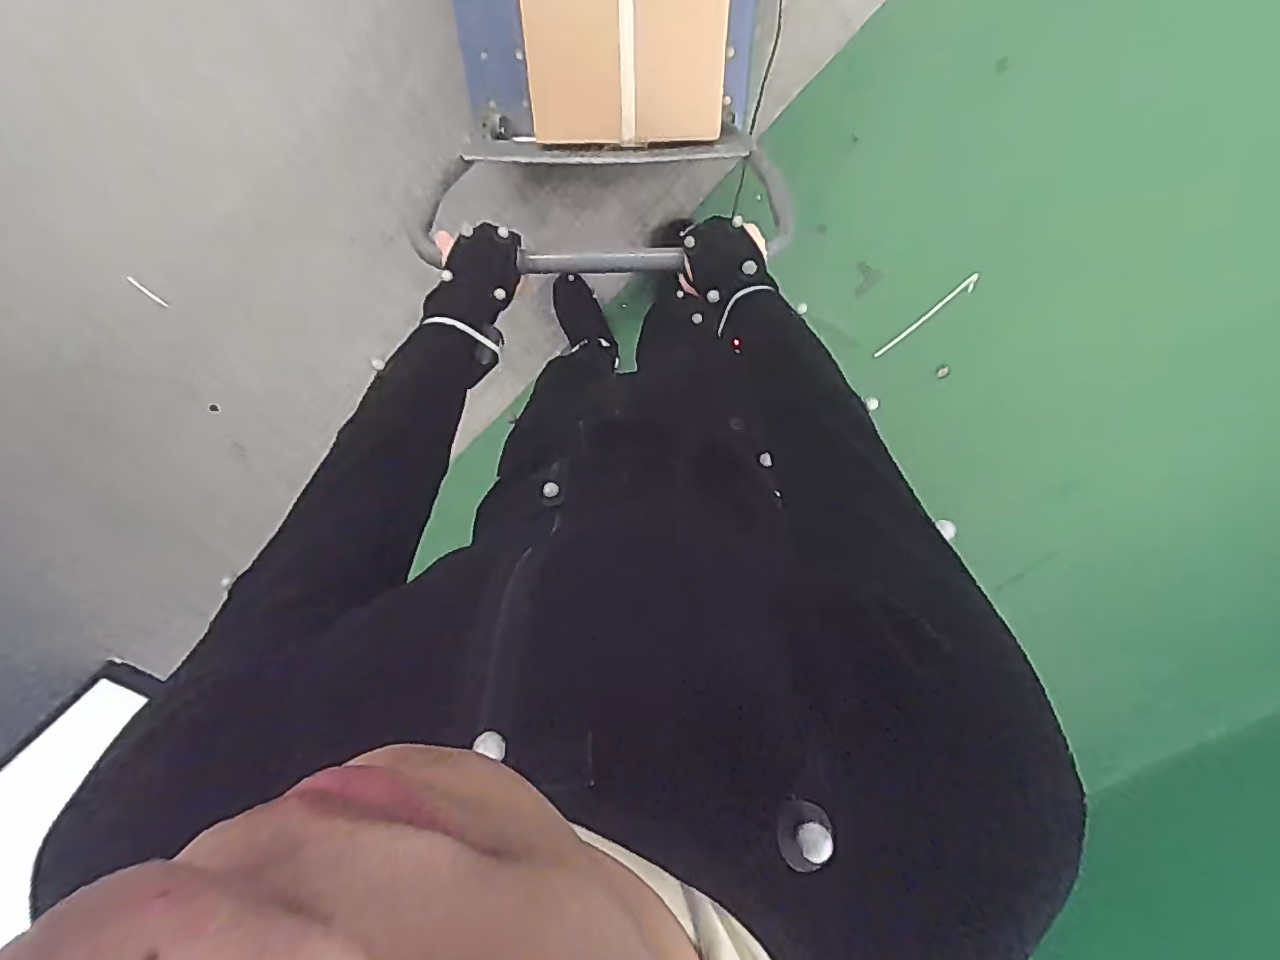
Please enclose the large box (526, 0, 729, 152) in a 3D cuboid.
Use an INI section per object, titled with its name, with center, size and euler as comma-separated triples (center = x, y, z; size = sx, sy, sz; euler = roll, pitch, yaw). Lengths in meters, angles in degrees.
[large box]
center = -0.018, -0.817, 0.937
size = 0.320, 0.320, 0.408
euler = -1, 126, 0
